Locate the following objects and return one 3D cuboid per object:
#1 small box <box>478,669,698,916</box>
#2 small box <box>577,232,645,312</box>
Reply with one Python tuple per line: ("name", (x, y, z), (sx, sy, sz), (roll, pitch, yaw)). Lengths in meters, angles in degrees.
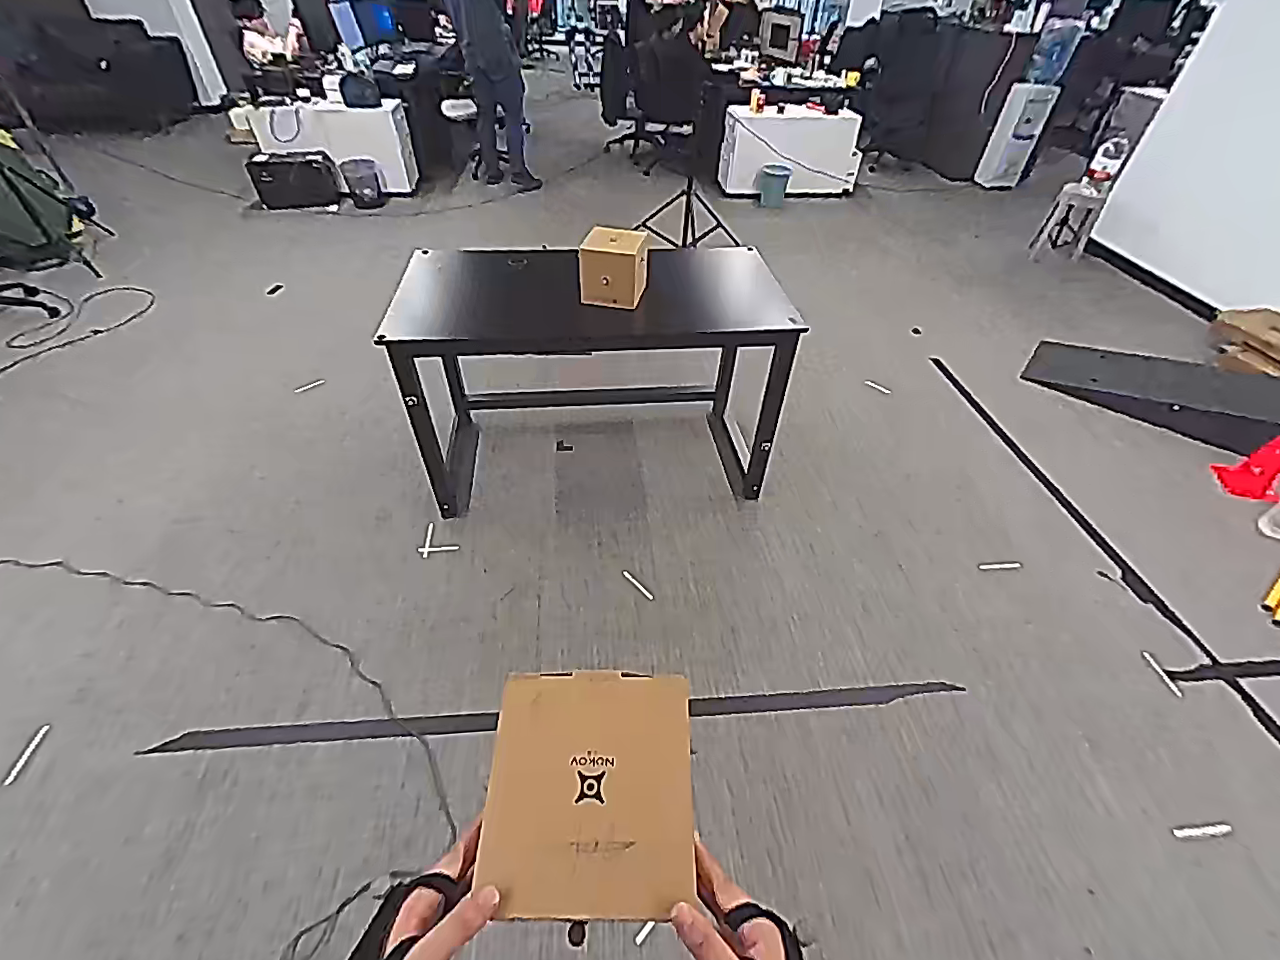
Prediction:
("small box", (-0.039, 0.295, 0.508), (0.168, 0.176, 0.179), (1, 51, 0))
("small box", (-0.083, -0.627, 1.634), (0.168, 0.176, 0.179), (10, 44, 7))
